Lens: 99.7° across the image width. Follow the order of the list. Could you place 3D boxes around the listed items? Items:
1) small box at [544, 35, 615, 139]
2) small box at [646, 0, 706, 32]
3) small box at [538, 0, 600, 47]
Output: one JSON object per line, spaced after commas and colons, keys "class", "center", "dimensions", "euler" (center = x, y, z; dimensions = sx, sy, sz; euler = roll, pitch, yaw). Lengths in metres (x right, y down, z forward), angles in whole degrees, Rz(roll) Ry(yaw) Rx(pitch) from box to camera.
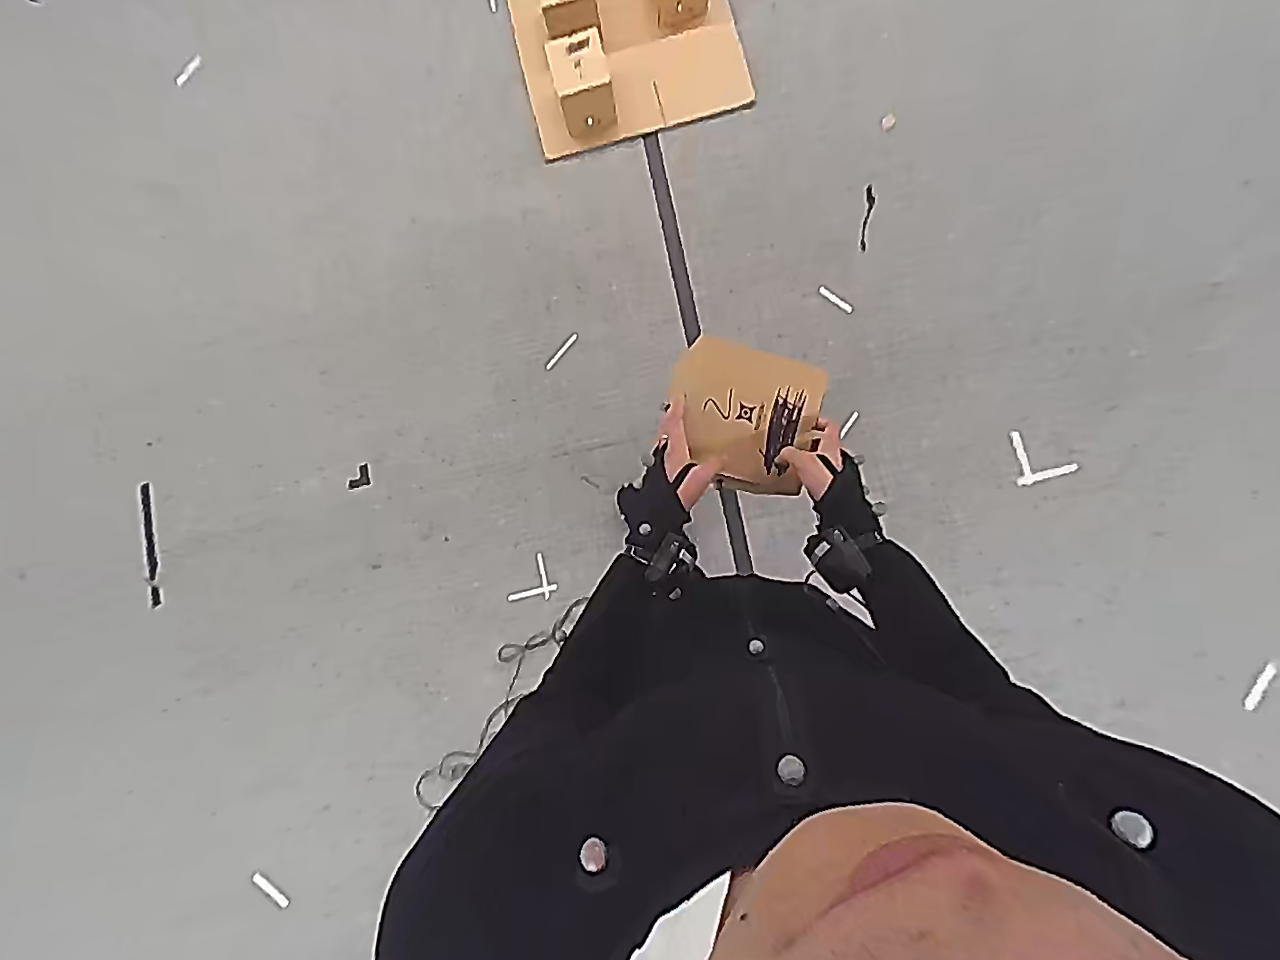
{"class": "small box", "center": [-0.181, -1.203, 1.665], "dimensions": [0.168, 0.176, 0.179], "euler": [-15, 85, 3]}
{"class": "small box", "center": [0.104, -1.562, 1.681], "dimensions": [0.168, 0.176, 0.179], "euler": [-18, 84, 2]}
{"class": "small box", "center": [-0.230, -1.482, 1.691], "dimensions": [0.168, 0.176, 0.179], "euler": [-15, 85, 3]}
